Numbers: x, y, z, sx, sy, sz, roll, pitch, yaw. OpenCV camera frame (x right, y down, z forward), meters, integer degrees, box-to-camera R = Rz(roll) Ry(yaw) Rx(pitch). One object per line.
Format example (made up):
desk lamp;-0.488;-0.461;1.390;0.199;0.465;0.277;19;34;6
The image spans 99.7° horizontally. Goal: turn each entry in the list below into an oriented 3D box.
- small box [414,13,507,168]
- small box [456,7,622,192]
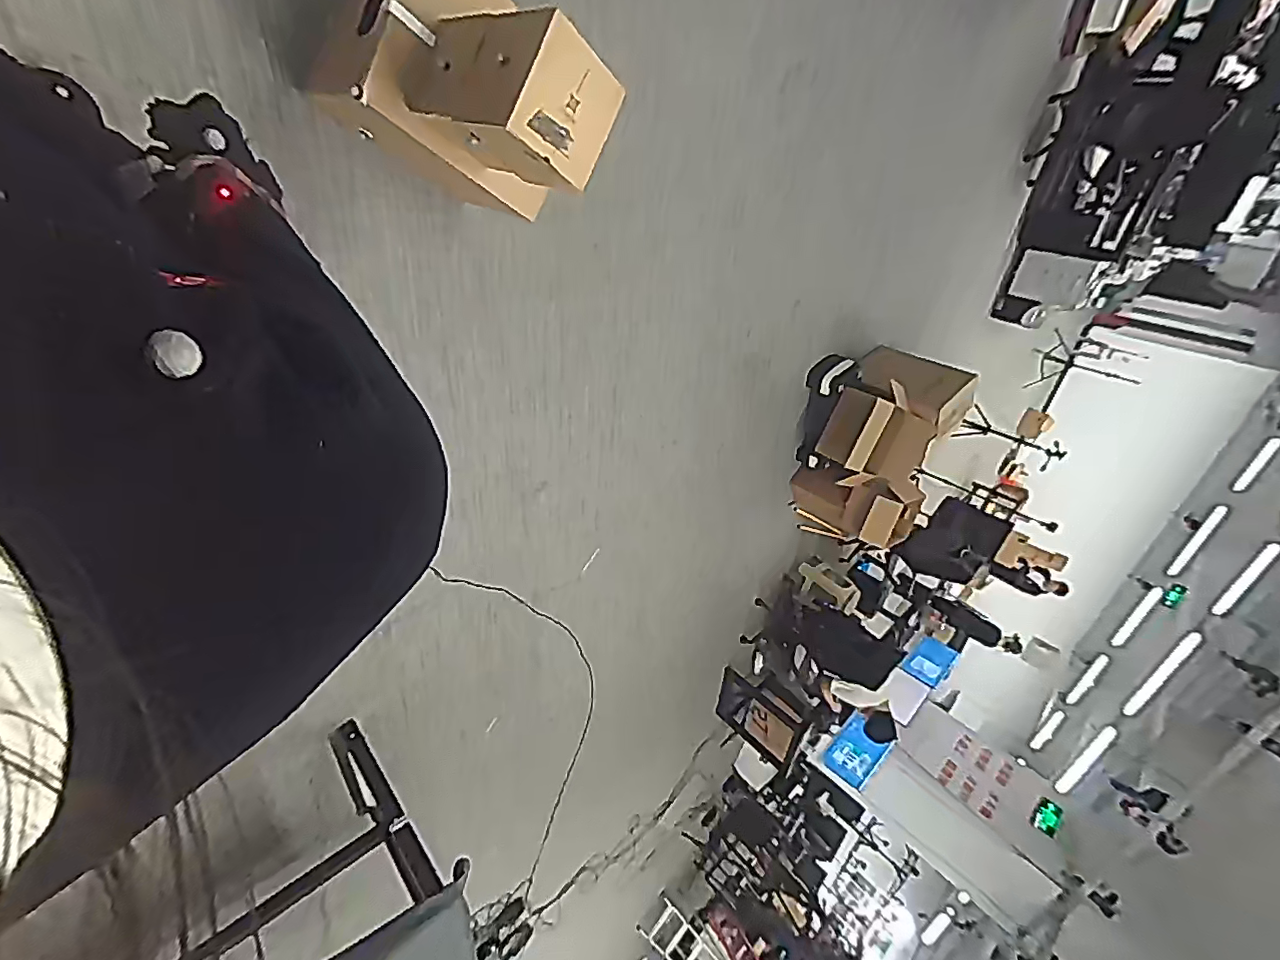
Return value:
small box;-0.274;-0.679;0.969;0.179;0.176;0.168;7;109;-52
small box;-0.167;-0.599;0.867;0.168;0.176;0.179;16;102;-53
